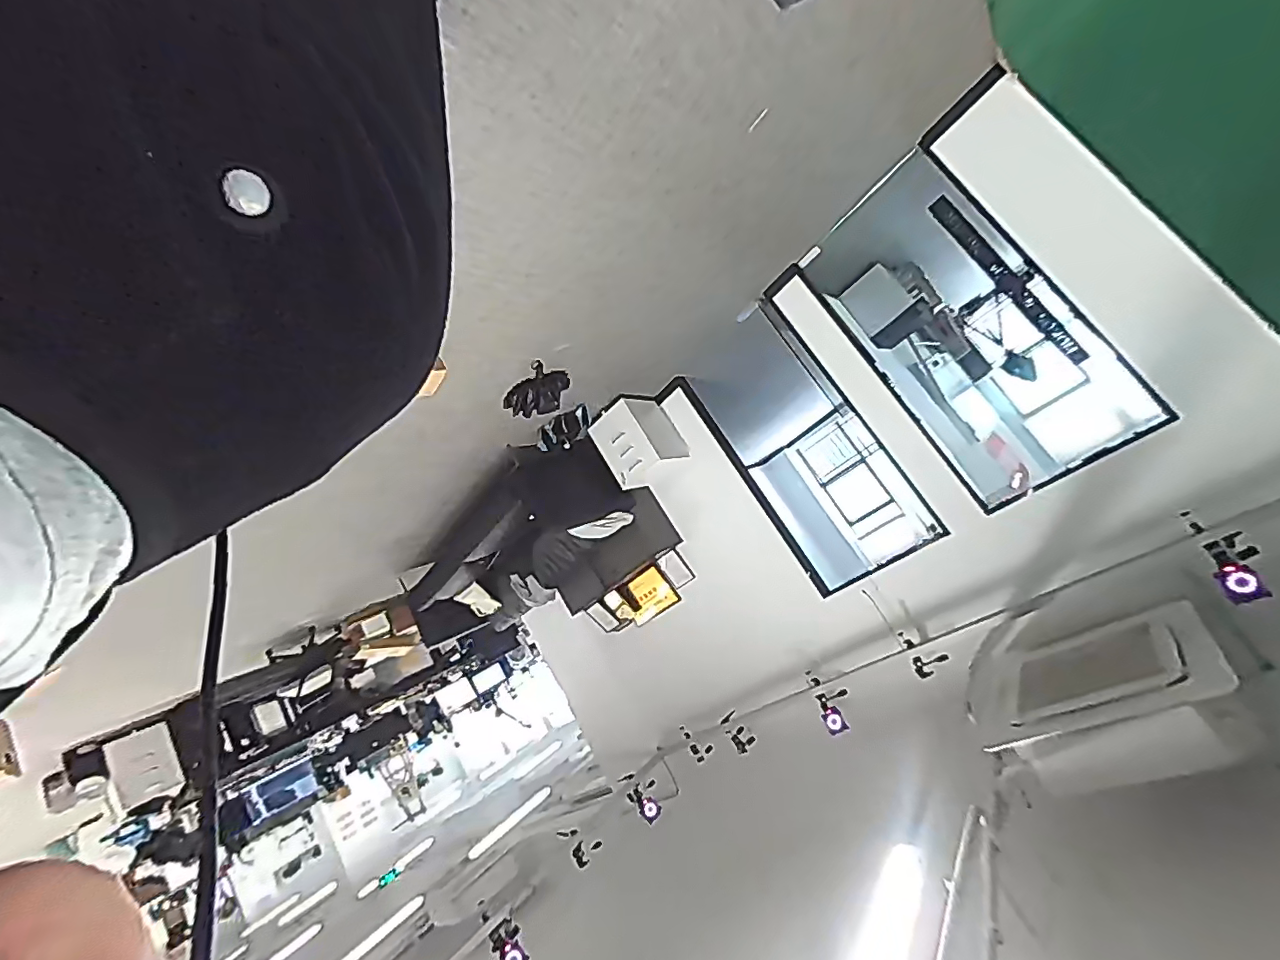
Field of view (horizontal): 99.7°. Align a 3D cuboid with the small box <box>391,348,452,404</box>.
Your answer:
[{"bbox_3d":[-0.948,-0.450,2.328,0.168,0.176,0.179,-17,159,-51],"label":"small box"}]
